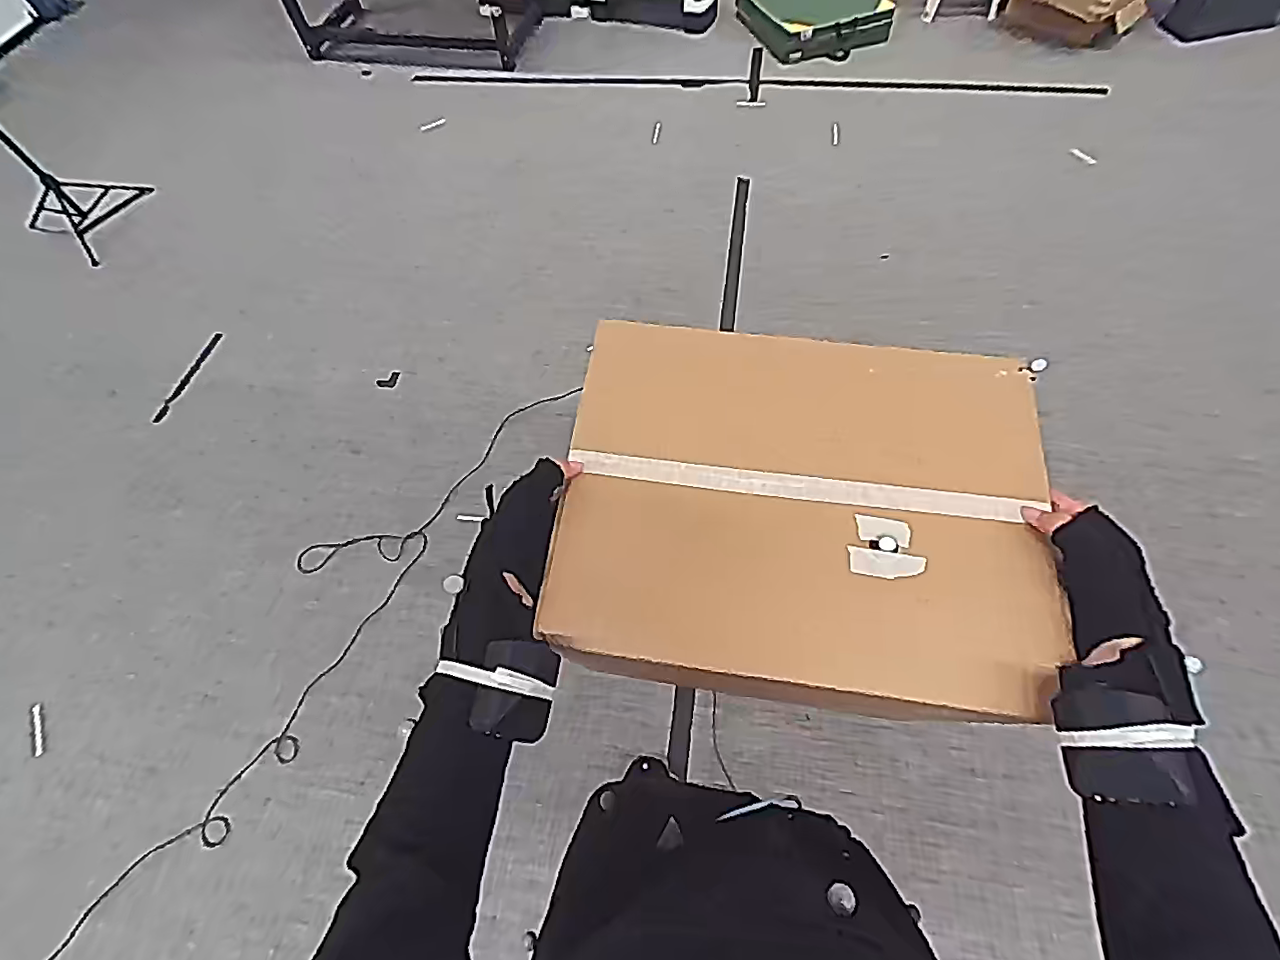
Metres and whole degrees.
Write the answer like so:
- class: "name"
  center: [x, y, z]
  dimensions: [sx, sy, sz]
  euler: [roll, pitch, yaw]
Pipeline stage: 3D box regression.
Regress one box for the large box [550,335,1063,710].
- class: "large box"
  center: [0.143, 0.070, 0.612]
  dimensions: [0.408, 0.320, 0.320]
  euler: [7, 68, 5]
